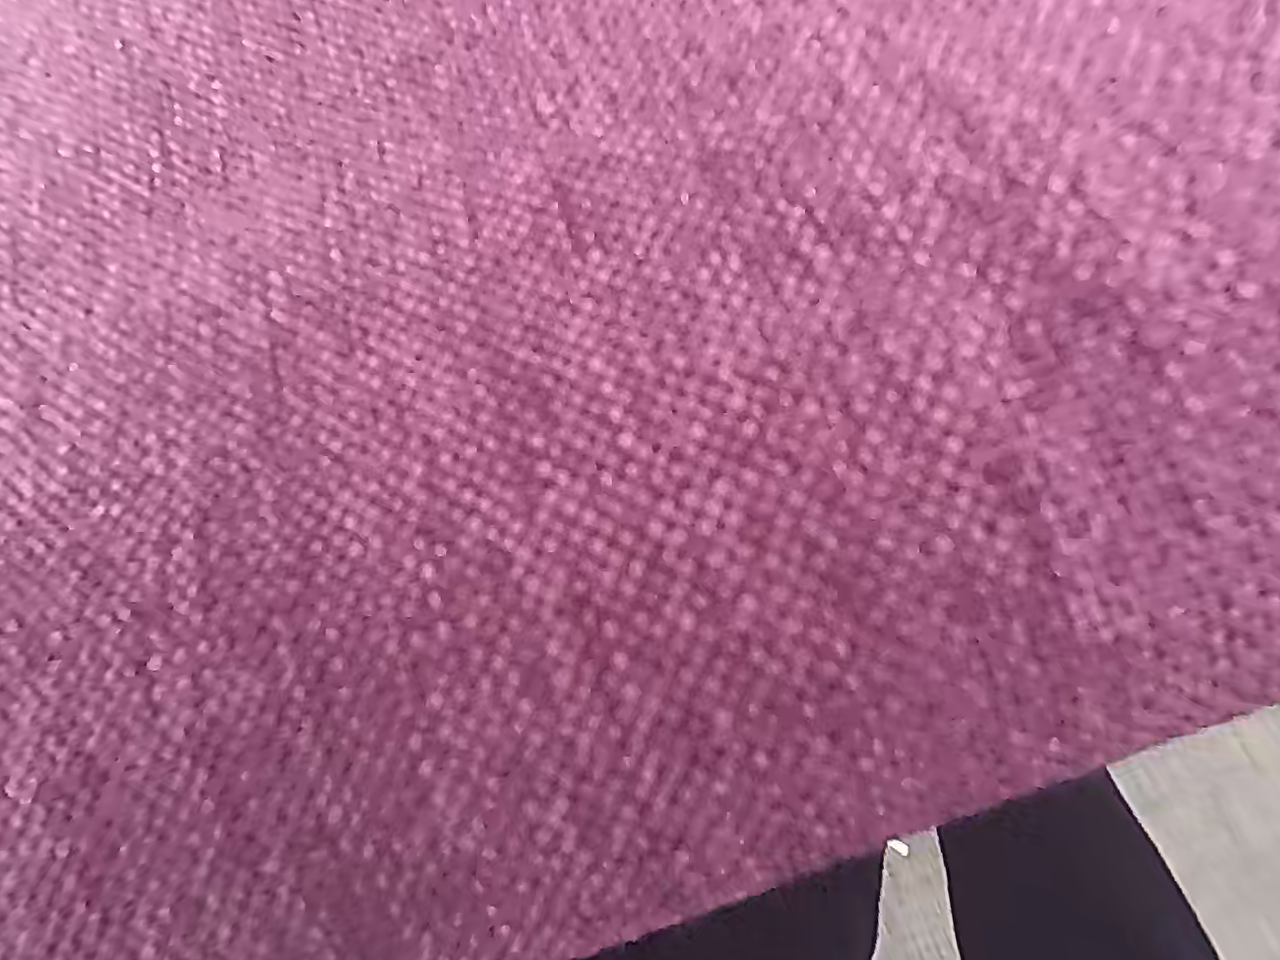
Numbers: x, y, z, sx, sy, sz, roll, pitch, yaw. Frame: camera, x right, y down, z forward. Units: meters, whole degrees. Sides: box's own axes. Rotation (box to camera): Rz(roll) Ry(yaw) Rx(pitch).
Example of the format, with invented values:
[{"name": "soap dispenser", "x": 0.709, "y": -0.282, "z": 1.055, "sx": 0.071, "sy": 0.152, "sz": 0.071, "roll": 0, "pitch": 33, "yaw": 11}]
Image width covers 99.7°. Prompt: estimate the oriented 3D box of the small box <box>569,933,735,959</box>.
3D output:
[{"name": "small box", "x": 0.007, "y": 0.553, "z": 0.497, "sx": 0.179, "sy": 0.168, "sz": 0.176, "roll": -3, "pitch": 74, "yaw": 6}]
